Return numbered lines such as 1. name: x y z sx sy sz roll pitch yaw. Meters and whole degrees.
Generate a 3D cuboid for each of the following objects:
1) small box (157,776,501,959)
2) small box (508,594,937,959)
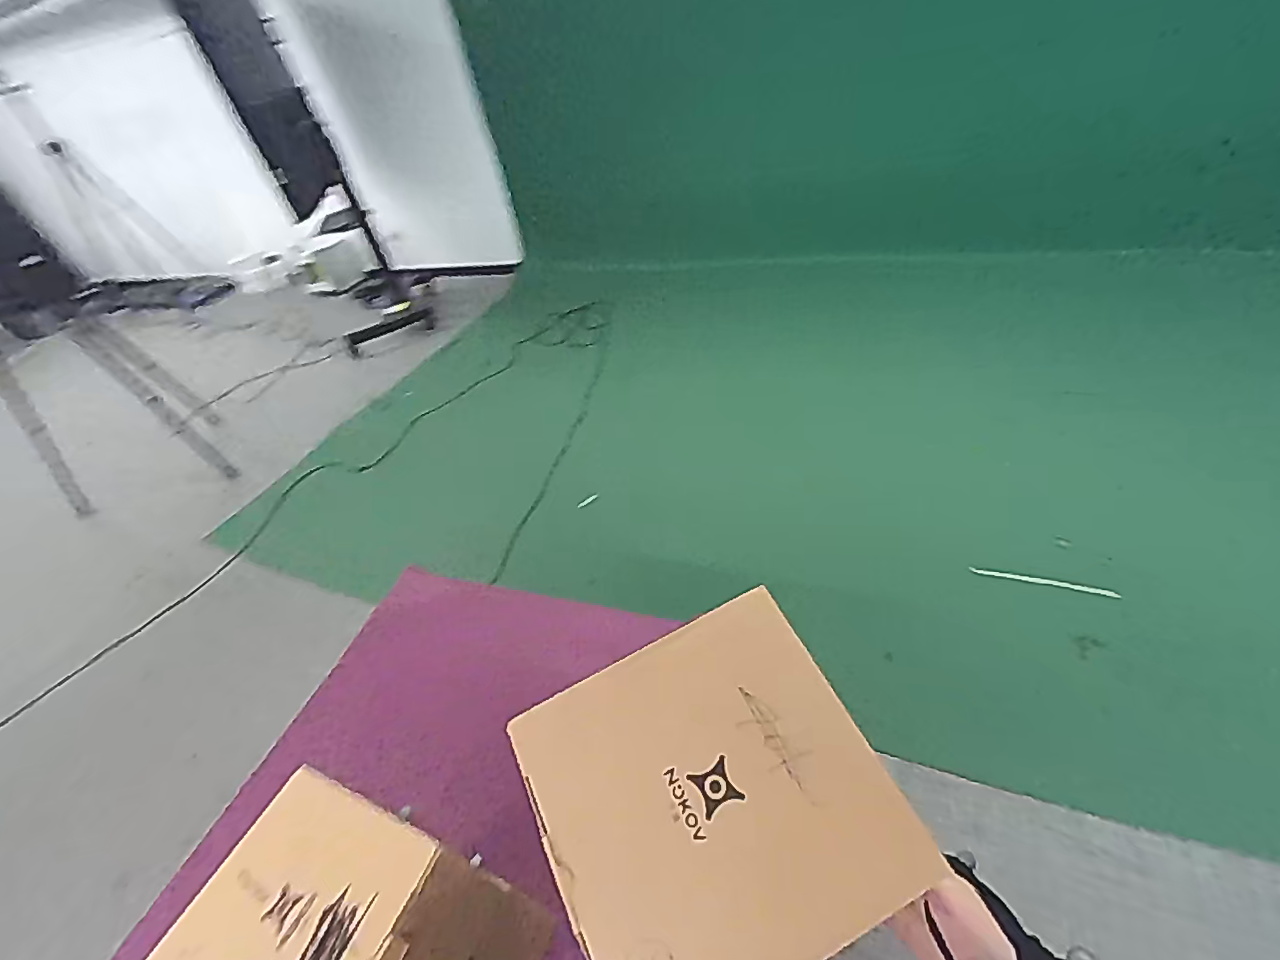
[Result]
1. small box: -0.251 0.395 0.465 0.179 0.176 0.168 7 45 25
2. small box: 0.042 0.207 0.354 0.179 0.176 0.168 -26 61 -8
